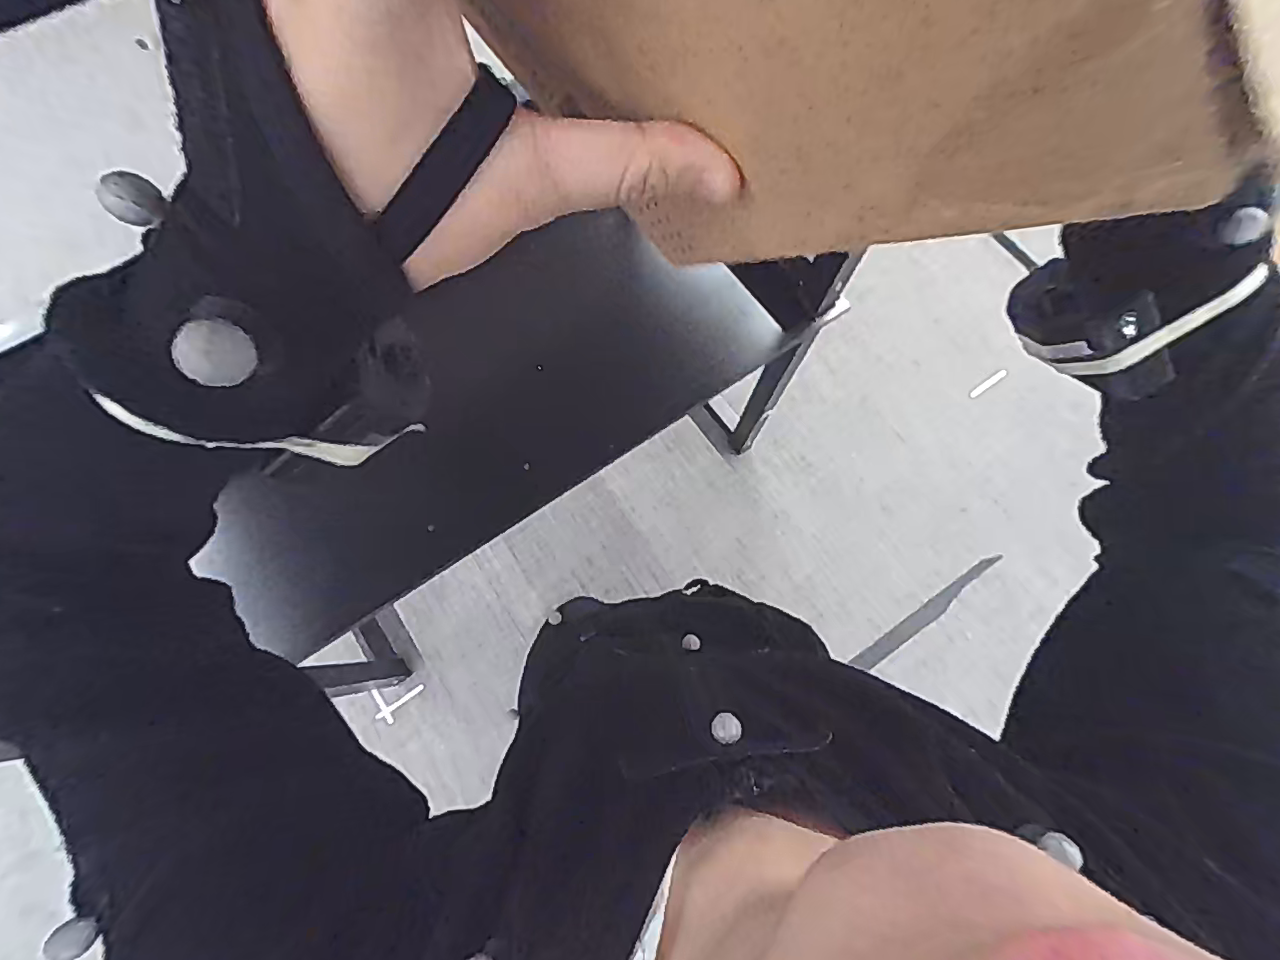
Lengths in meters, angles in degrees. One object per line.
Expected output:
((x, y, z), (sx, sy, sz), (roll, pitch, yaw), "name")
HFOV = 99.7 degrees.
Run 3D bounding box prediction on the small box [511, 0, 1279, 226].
((0.048, -0.178, 0.107), (0.168, 0.176, 0.179), (39, 90, -30), "small box")
